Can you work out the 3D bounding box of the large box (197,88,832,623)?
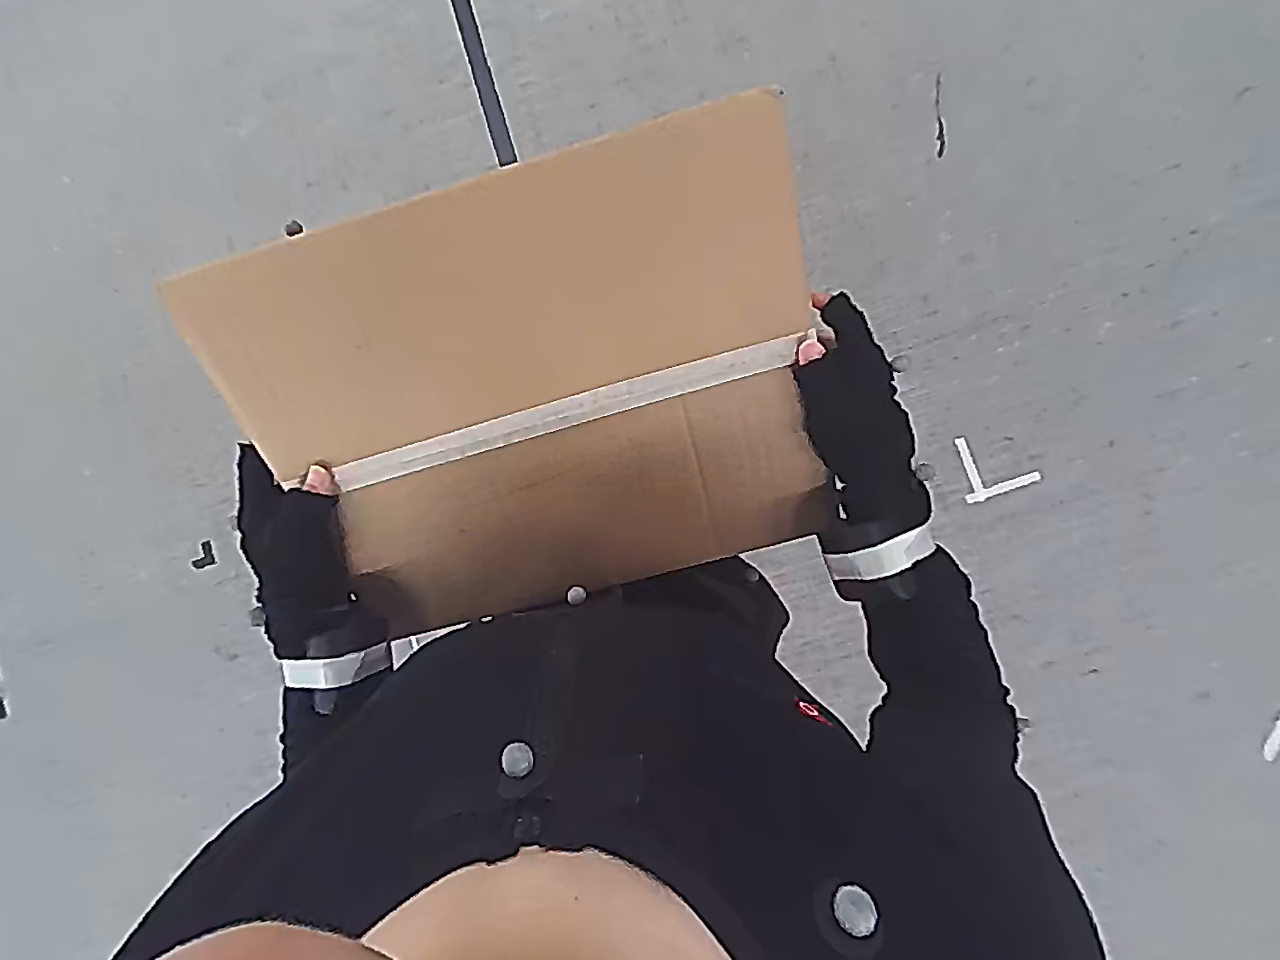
[{"bbox_3d":[-0.076,-0.117,0.540,0.408,0.320,0.320,-15,117,5],"label":"large box"}]
